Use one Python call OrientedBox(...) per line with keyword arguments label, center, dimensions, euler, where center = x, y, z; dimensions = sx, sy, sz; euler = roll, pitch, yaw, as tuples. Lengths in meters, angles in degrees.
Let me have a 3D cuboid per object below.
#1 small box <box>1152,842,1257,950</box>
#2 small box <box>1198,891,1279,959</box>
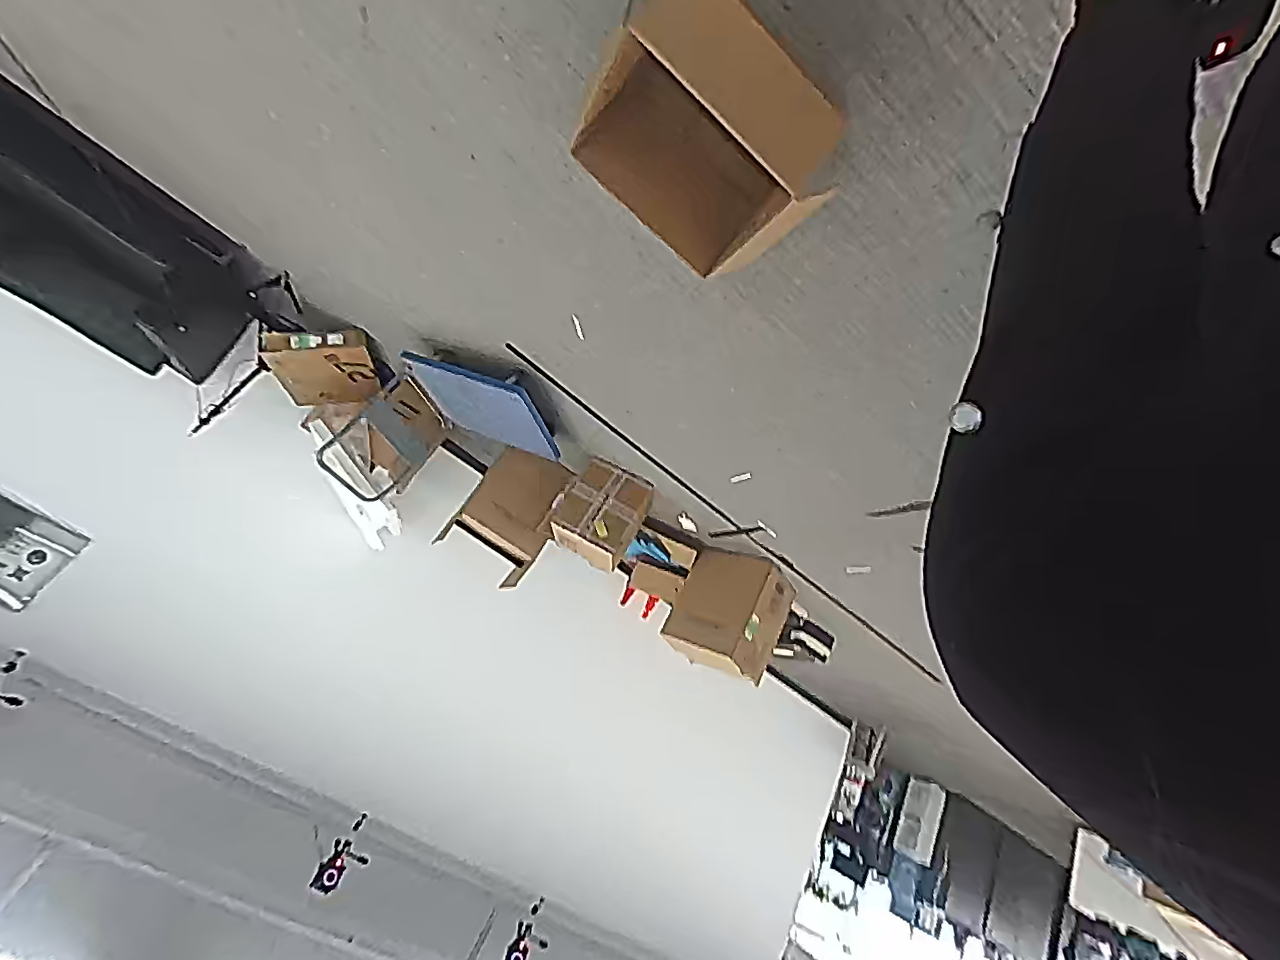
OrientedBox(label="small box", center=(1.614, 1.181, 1.547), dimensions=(0.168, 0.176, 0.179), euler=(39, 156, -21))
OrientedBox(label="small box", center=(1.803, 1.315, 1.590), dimensions=(0.168, 0.176, 0.179), euler=(38, 156, -15))
